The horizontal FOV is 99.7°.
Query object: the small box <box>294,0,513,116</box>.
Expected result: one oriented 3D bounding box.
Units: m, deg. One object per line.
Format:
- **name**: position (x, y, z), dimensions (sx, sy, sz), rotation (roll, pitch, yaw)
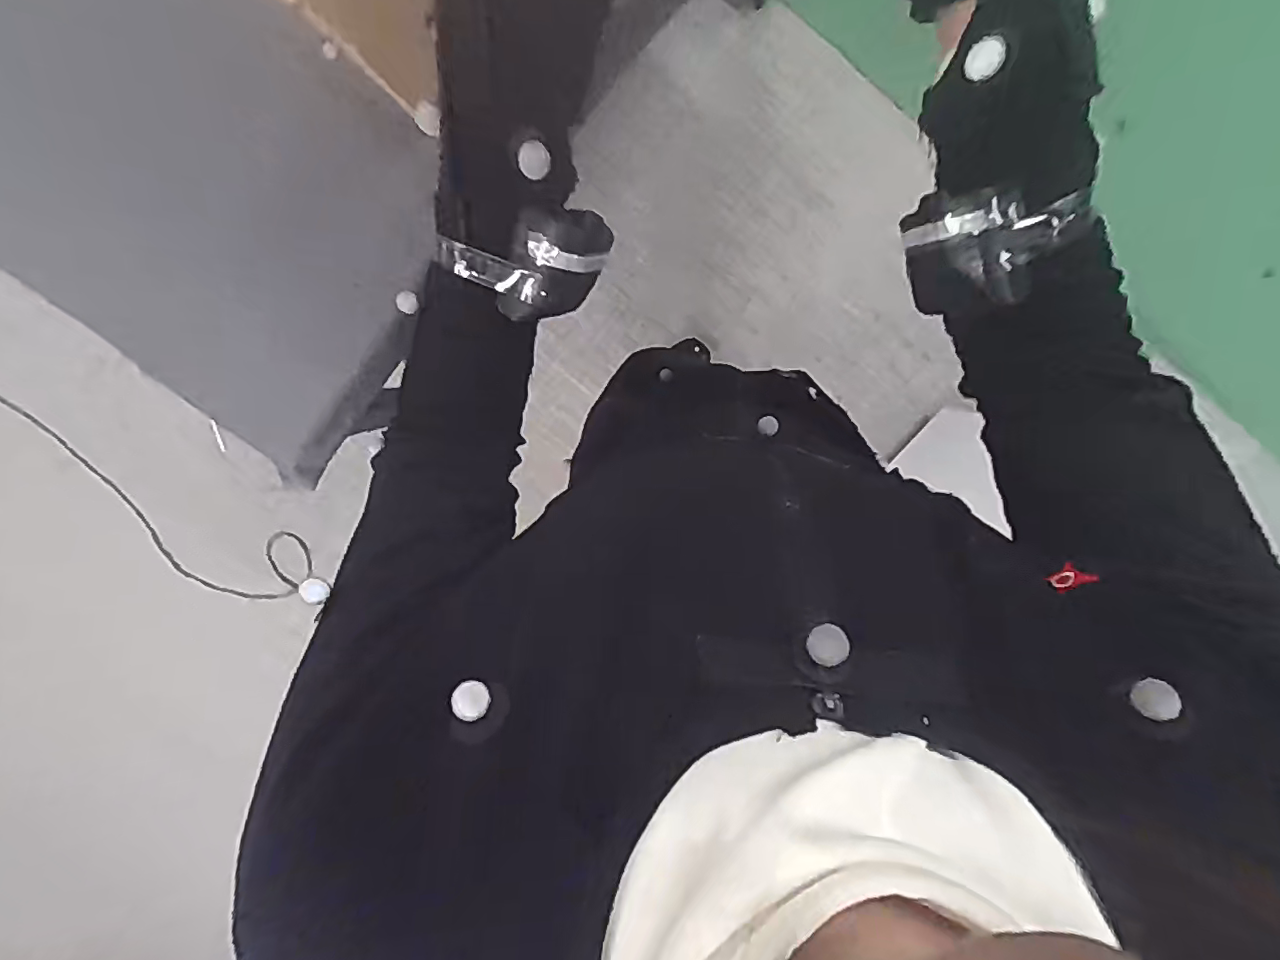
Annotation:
- **small box**: position (-0.247, -0.504, 0.518), dimensions (0.168, 0.176, 0.179), rotation (42, 102, -5)
